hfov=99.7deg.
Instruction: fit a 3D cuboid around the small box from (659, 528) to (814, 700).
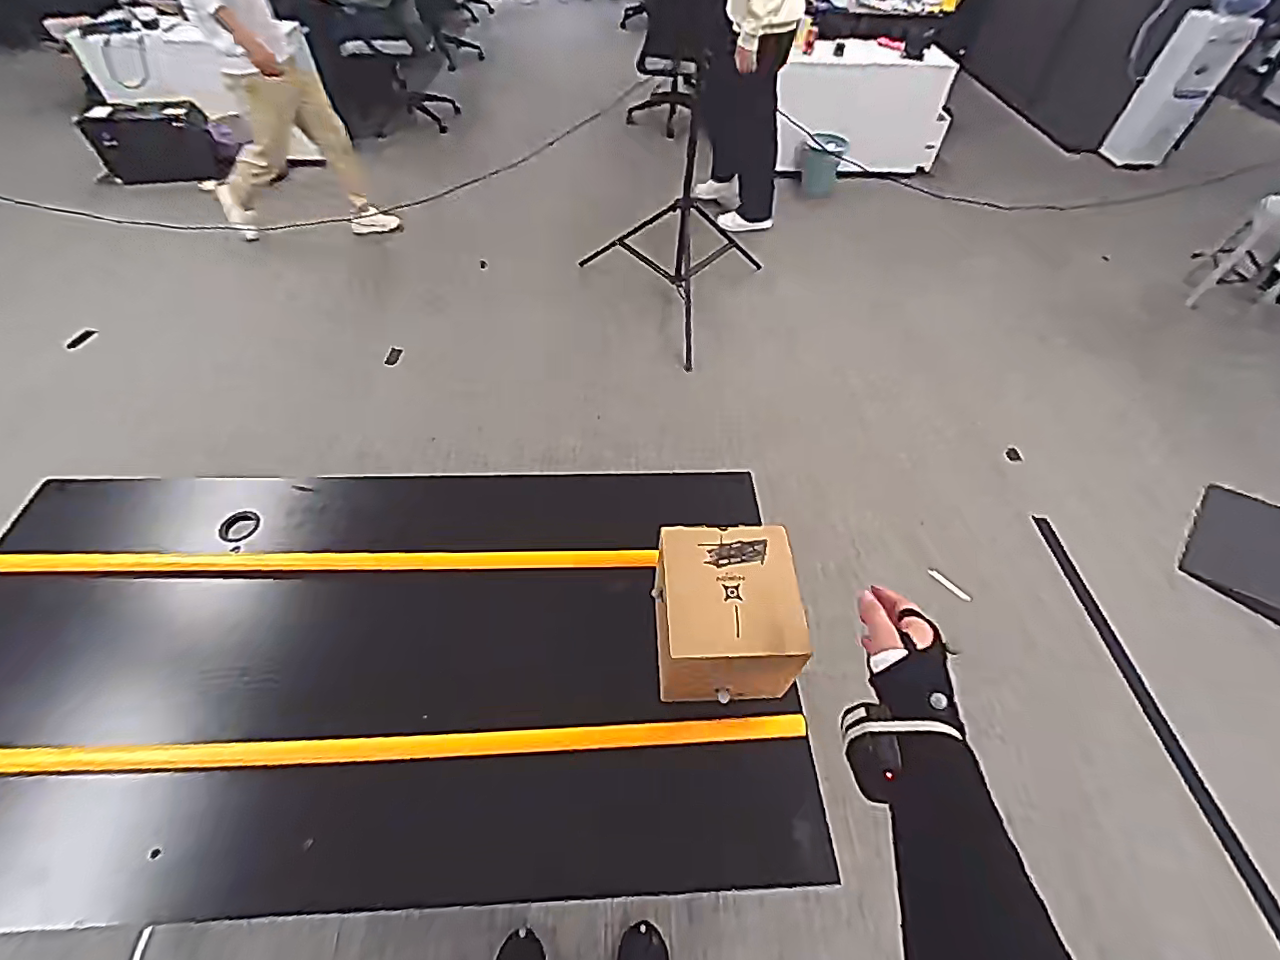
[{"bbox_3d":[0.114,0.181,0.725,0.168,0.176,0.179,-1,52,-2],"label":"small box"}]
